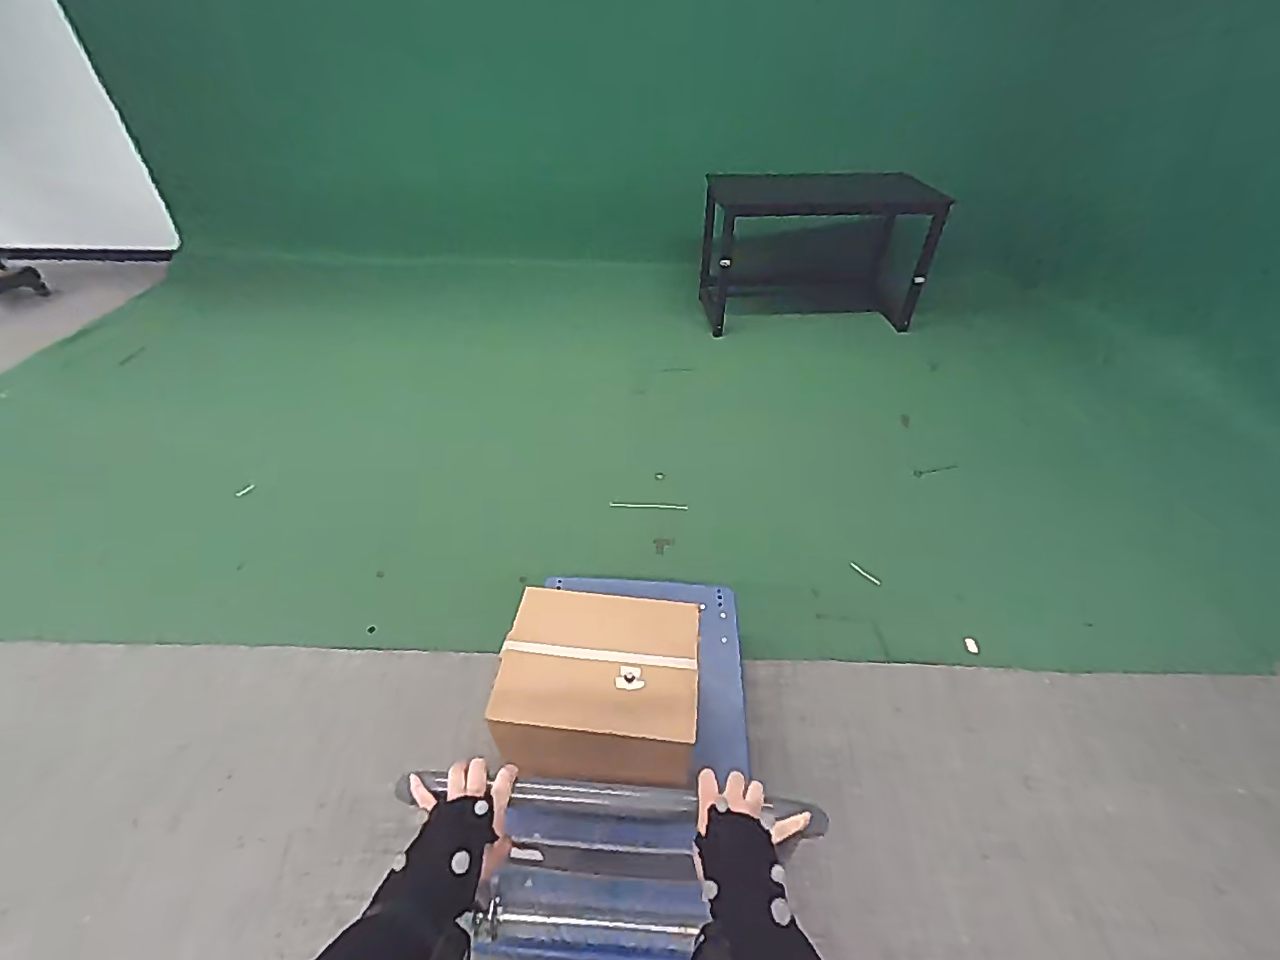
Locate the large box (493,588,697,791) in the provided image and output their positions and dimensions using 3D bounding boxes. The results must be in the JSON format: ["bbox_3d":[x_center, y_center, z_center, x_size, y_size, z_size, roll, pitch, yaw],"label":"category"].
[{"bbox_3d":[-0.086,0.480,1.249,0.408,0.320,0.320,6,42,3],"label":"large box"}]
